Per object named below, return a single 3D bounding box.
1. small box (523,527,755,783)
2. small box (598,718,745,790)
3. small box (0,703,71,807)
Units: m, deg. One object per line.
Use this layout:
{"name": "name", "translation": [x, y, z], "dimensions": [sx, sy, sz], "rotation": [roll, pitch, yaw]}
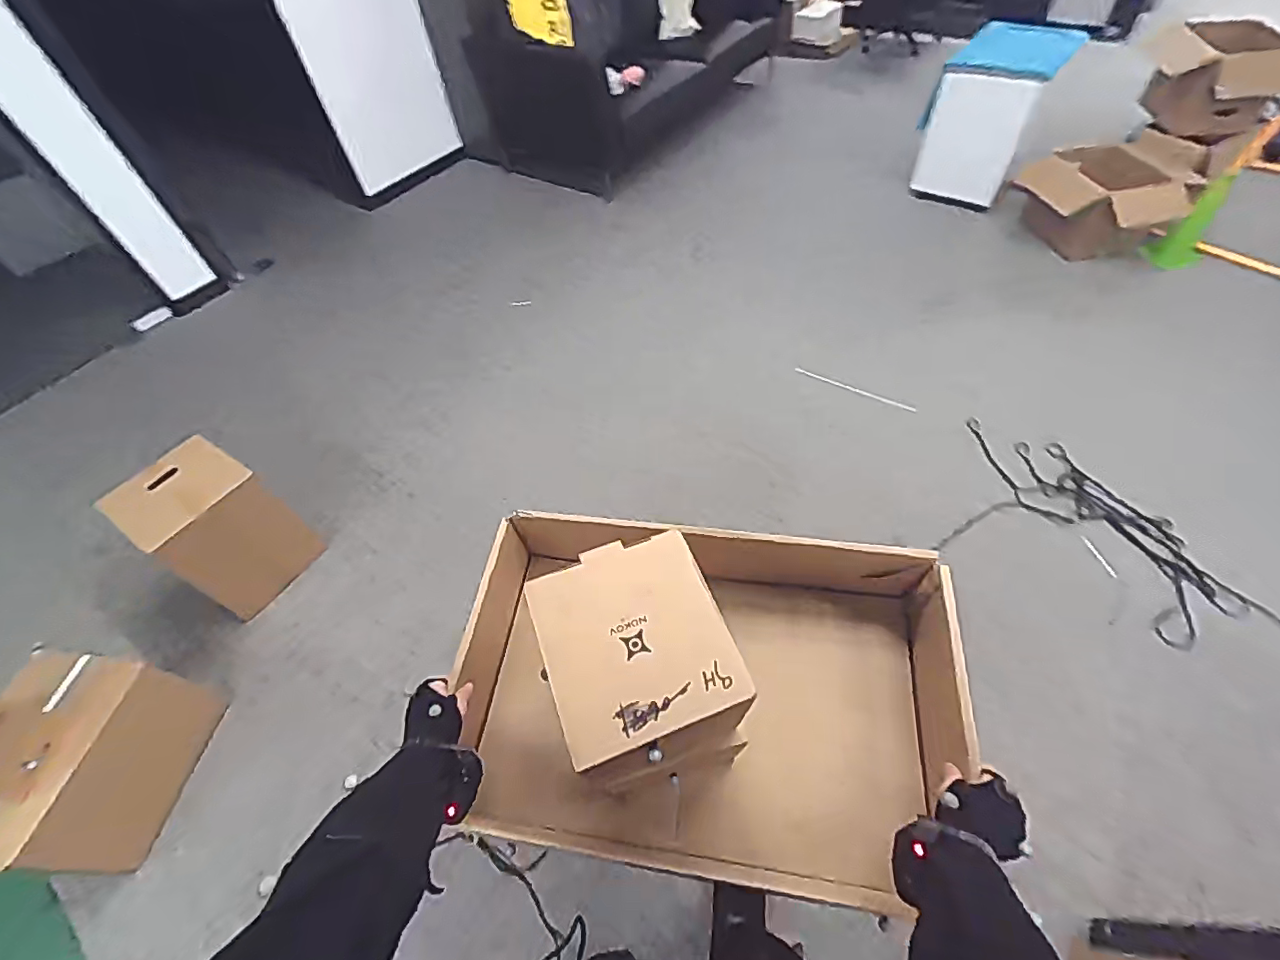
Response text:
{"name": "small box", "translation": [-0.005, 0.181, 0.550], "dimensions": [0.168, 0.176, 0.179], "rotation": [-20, 58, -9]}
{"name": "small box", "translation": [0.019, 0.275, 0.682], "dimensions": [0.168, 0.176, 0.179], "rotation": [-15, 57, -7]}
{"name": "small box", "translation": [-1.348, 0.555, 1.093], "dimensions": [0.179, 0.176, 0.168], "rotation": [0, 53, 5]}
